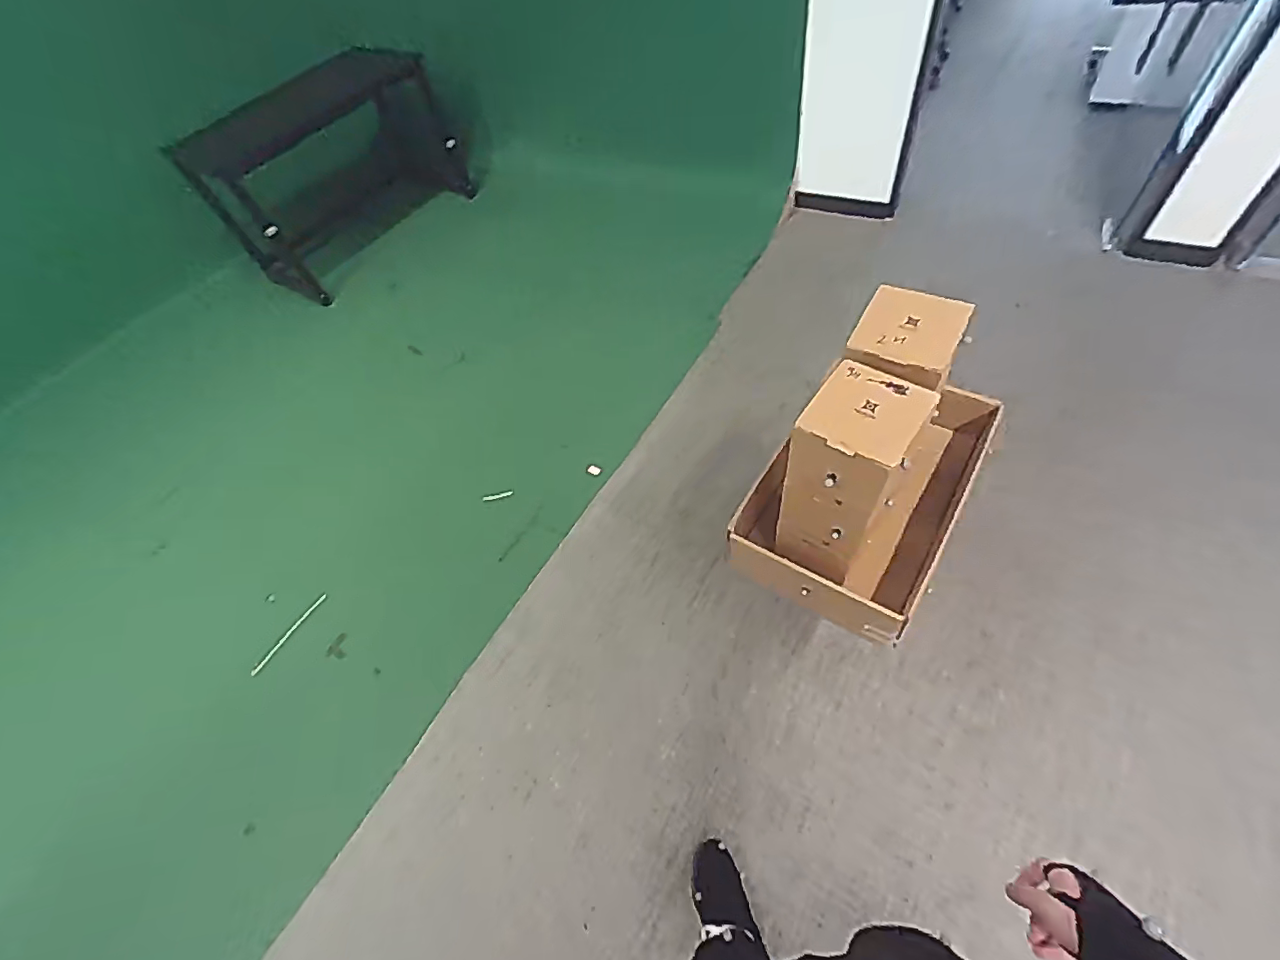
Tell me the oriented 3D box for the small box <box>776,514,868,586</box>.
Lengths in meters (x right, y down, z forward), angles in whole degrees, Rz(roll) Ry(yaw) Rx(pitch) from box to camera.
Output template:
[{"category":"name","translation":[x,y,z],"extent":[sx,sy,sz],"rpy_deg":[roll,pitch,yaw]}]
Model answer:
[{"category":"small box","translation":[0.415,0.105,1.202],"extent":[0.168,0.176,0.179],"rpy_deg":[27,64,25]}]

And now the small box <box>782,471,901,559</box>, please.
[{"category":"small box","translation":[0.392,0.024,1.062],"extent":[0.168,0.176,0.179],"rpy_deg":[30,65,26]}]

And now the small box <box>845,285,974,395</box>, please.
[{"category":"small box","translation":[0.489,-0.229,1.019],"extent":[0.168,0.176,0.179],"rpy_deg":[25,67,25]}]

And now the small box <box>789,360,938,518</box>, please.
[{"category":"small box","translation":[0.371,-0.066,0.927],"extent":[0.168,0.176,0.179],"rpy_deg":[31,67,26]}]
